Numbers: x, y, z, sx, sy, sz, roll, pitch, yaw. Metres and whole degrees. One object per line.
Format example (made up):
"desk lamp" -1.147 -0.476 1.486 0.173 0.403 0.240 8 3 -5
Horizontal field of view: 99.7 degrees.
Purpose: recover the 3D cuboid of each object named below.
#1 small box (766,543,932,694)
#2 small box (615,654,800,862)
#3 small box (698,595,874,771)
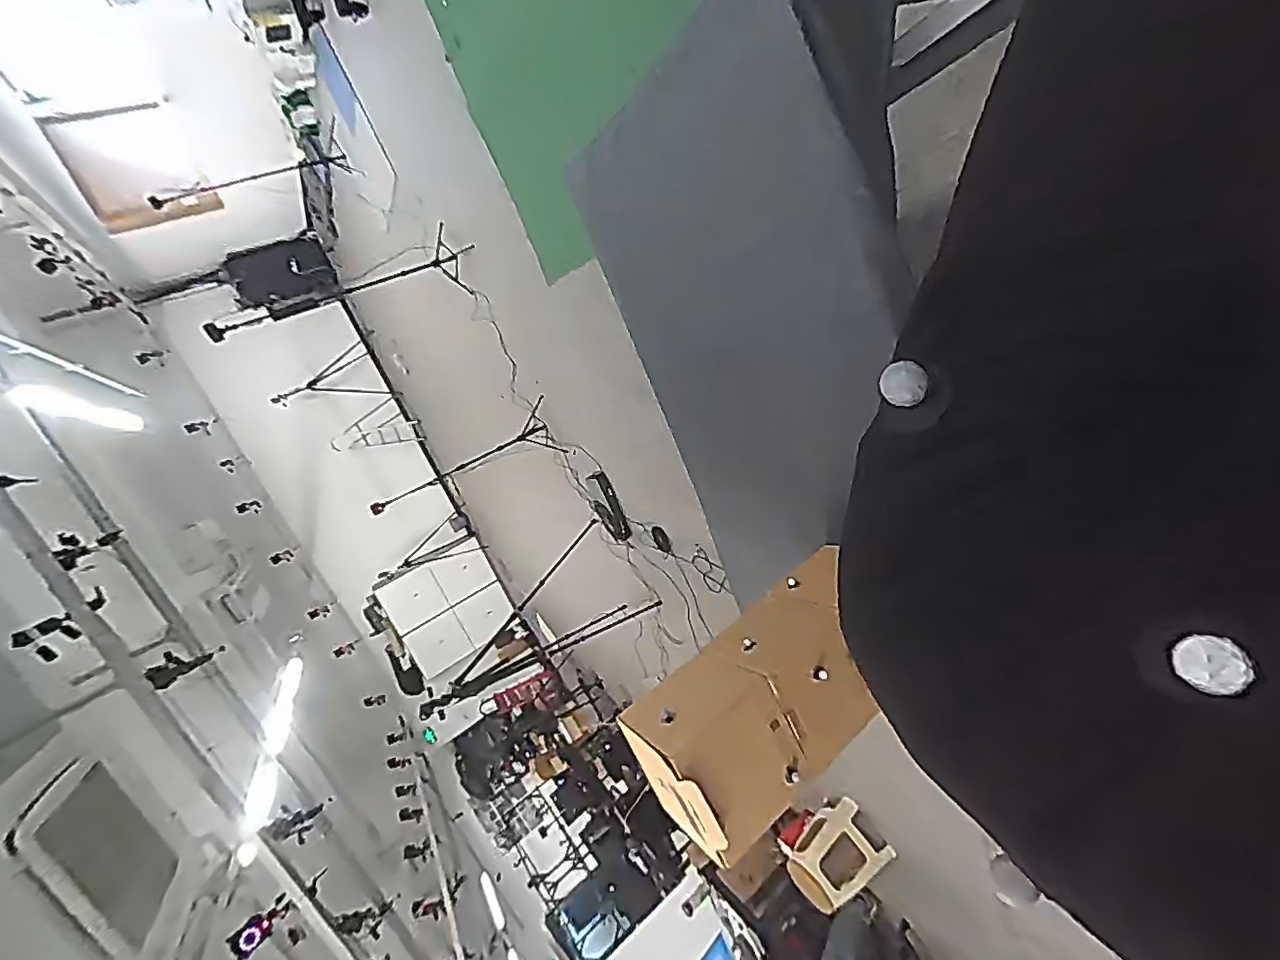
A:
"small box" 0.352 0.217 0.901 0.168 0.176 0.179 63 155 -9
"small box" 0.099 0.370 0.761 0.168 0.176 0.179 63 155 -7
"small box" 0.228 0.294 0.830 0.168 0.176 0.179 64 156 -8
